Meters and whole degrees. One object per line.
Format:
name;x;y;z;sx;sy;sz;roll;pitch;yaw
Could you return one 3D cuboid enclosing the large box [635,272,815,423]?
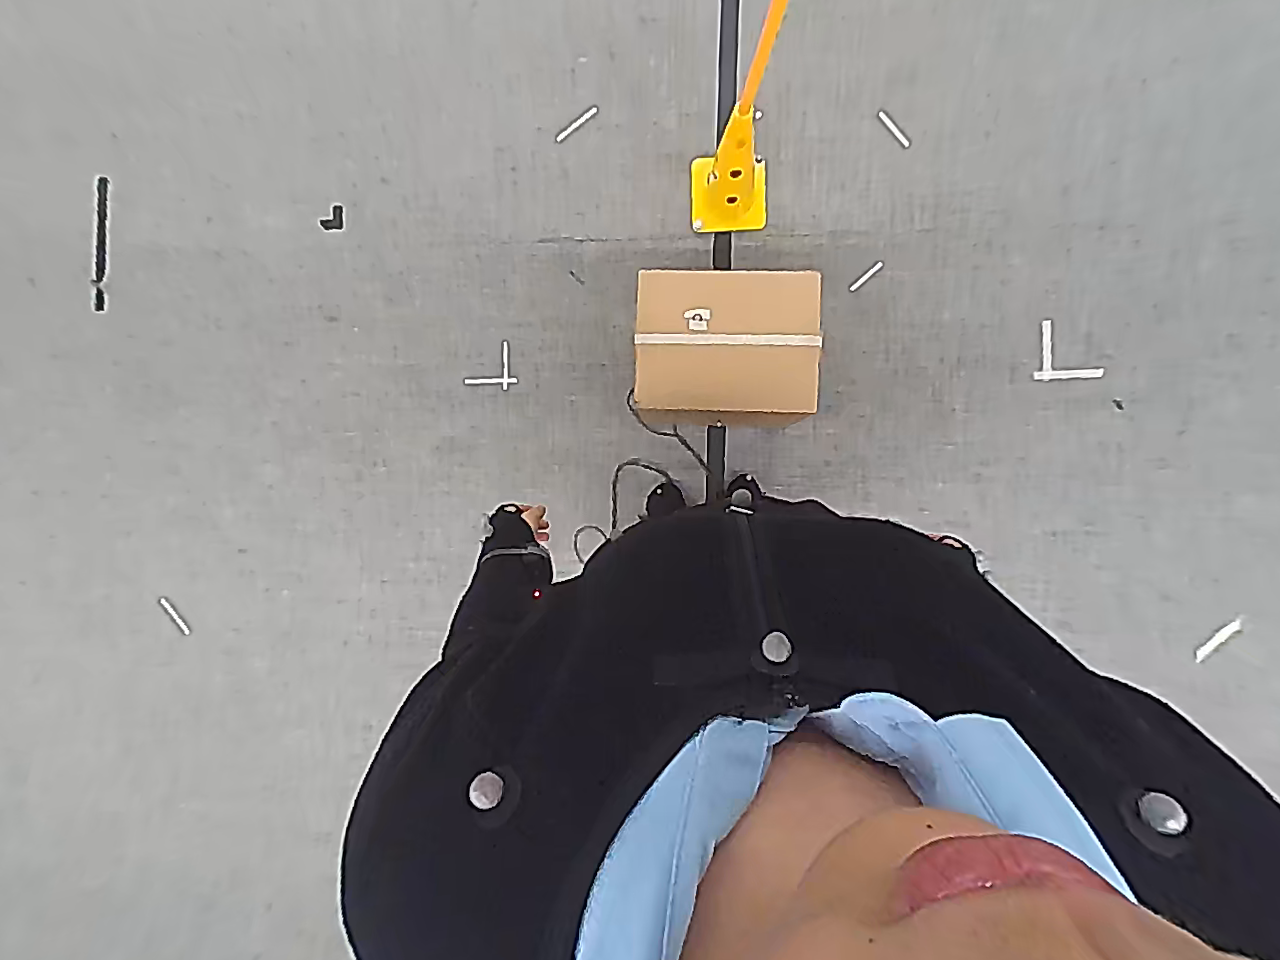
large box;0.201;-0.308;1.356;0.408;0.320;0.320;1;89;5
